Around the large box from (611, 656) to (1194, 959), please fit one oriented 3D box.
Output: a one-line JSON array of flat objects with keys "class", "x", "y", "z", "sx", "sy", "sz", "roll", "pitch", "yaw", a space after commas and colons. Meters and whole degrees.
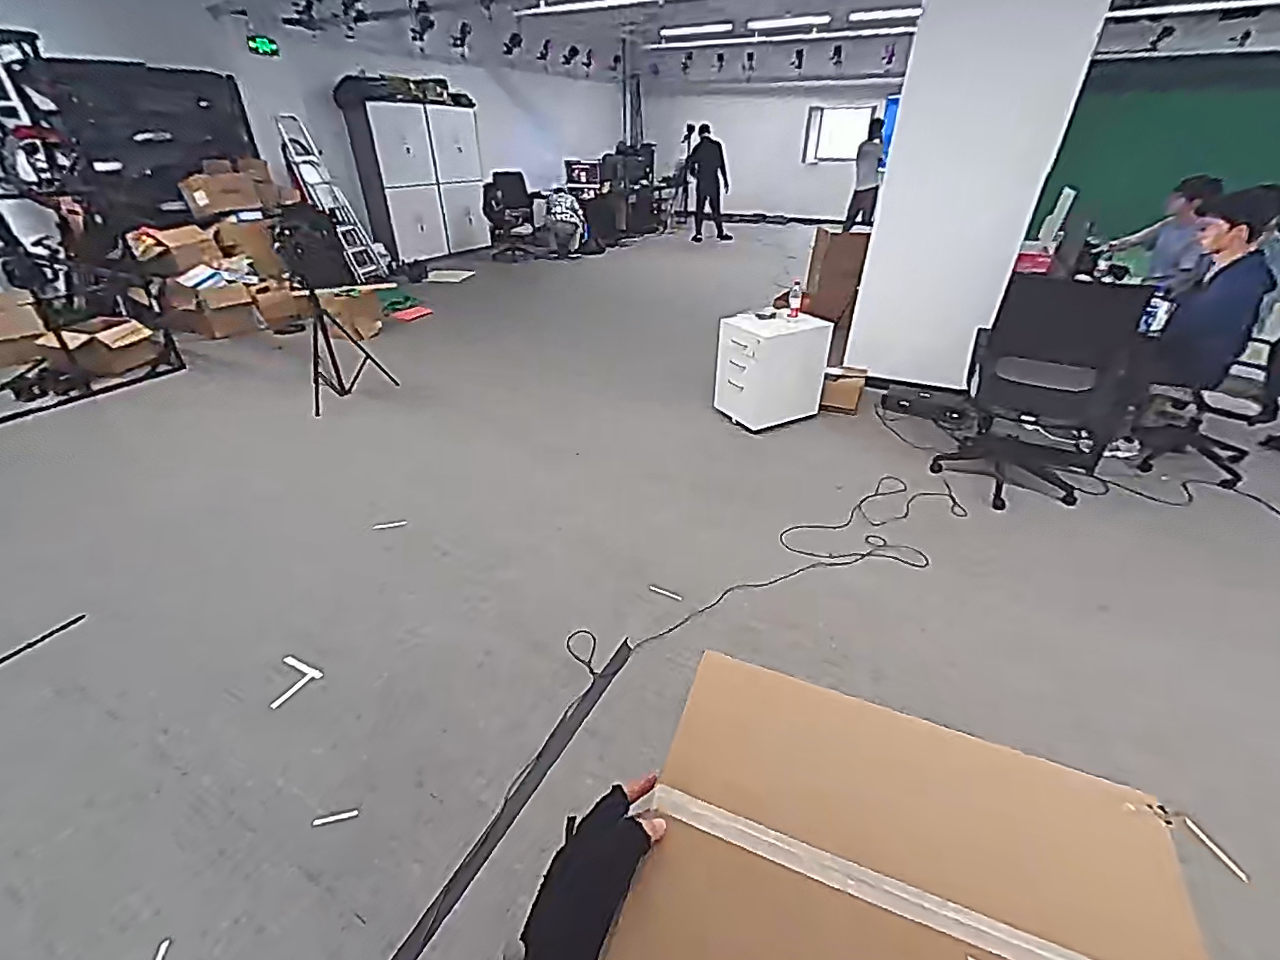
[{"class": "large box", "x": 0.207, "y": 0.439, "z": 0.526, "sx": 0.408, "sy": 0.320, "sz": 0.320, "roll": 14, "pitch": 43, "yaw": 17}]
